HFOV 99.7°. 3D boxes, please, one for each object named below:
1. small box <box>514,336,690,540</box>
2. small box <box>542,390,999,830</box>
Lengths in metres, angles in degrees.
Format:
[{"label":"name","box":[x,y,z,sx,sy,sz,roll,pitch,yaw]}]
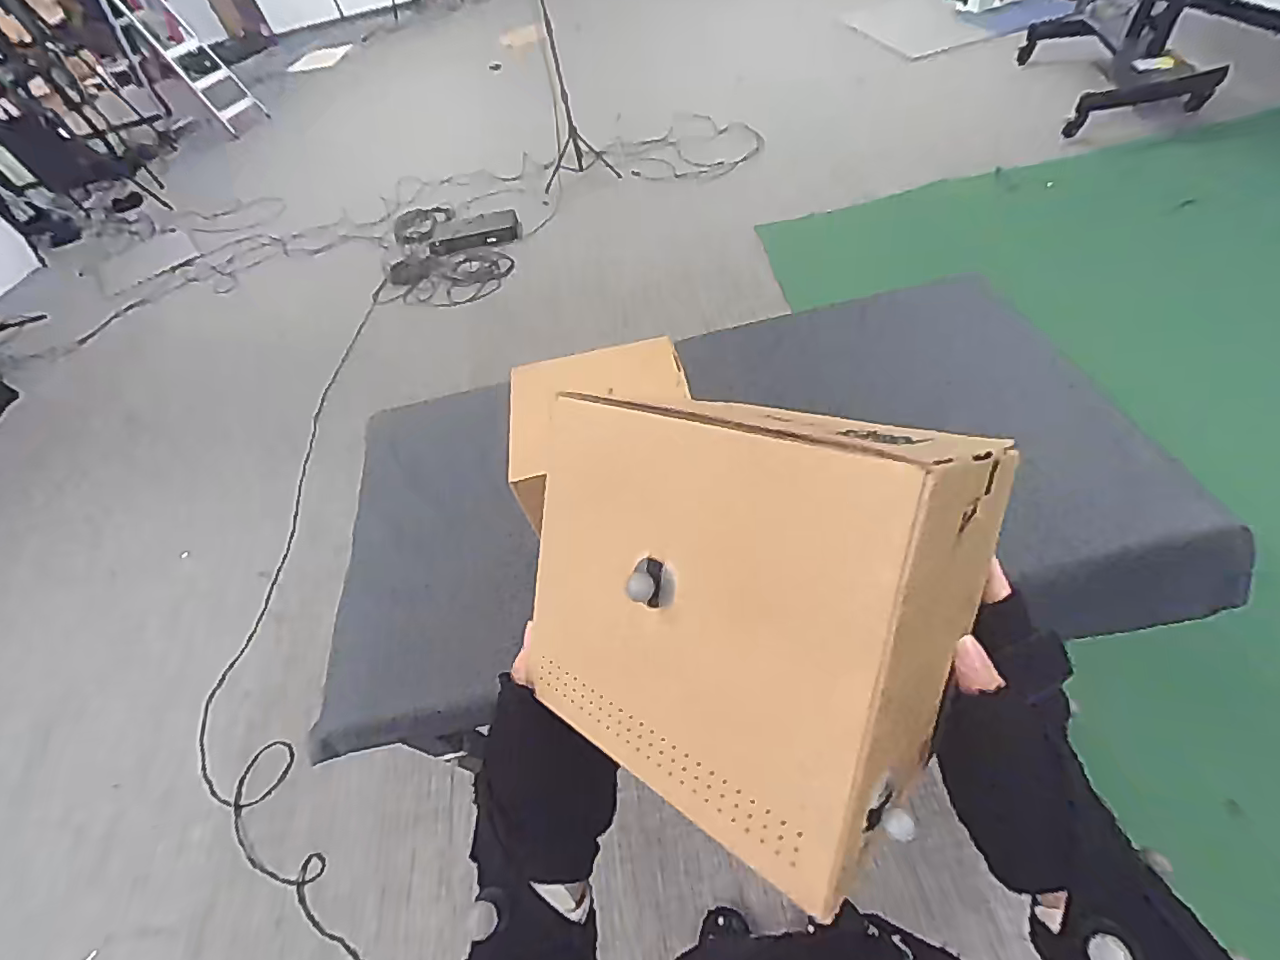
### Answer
[{"label":"small box","box":[-0.026,-0.027,0.597,0.179,0.176,0.168,-12,49,3]},{"label":"small box","box":[0.065,0.047,0.298,0.179,0.176,0.168,16,13,40]}]
